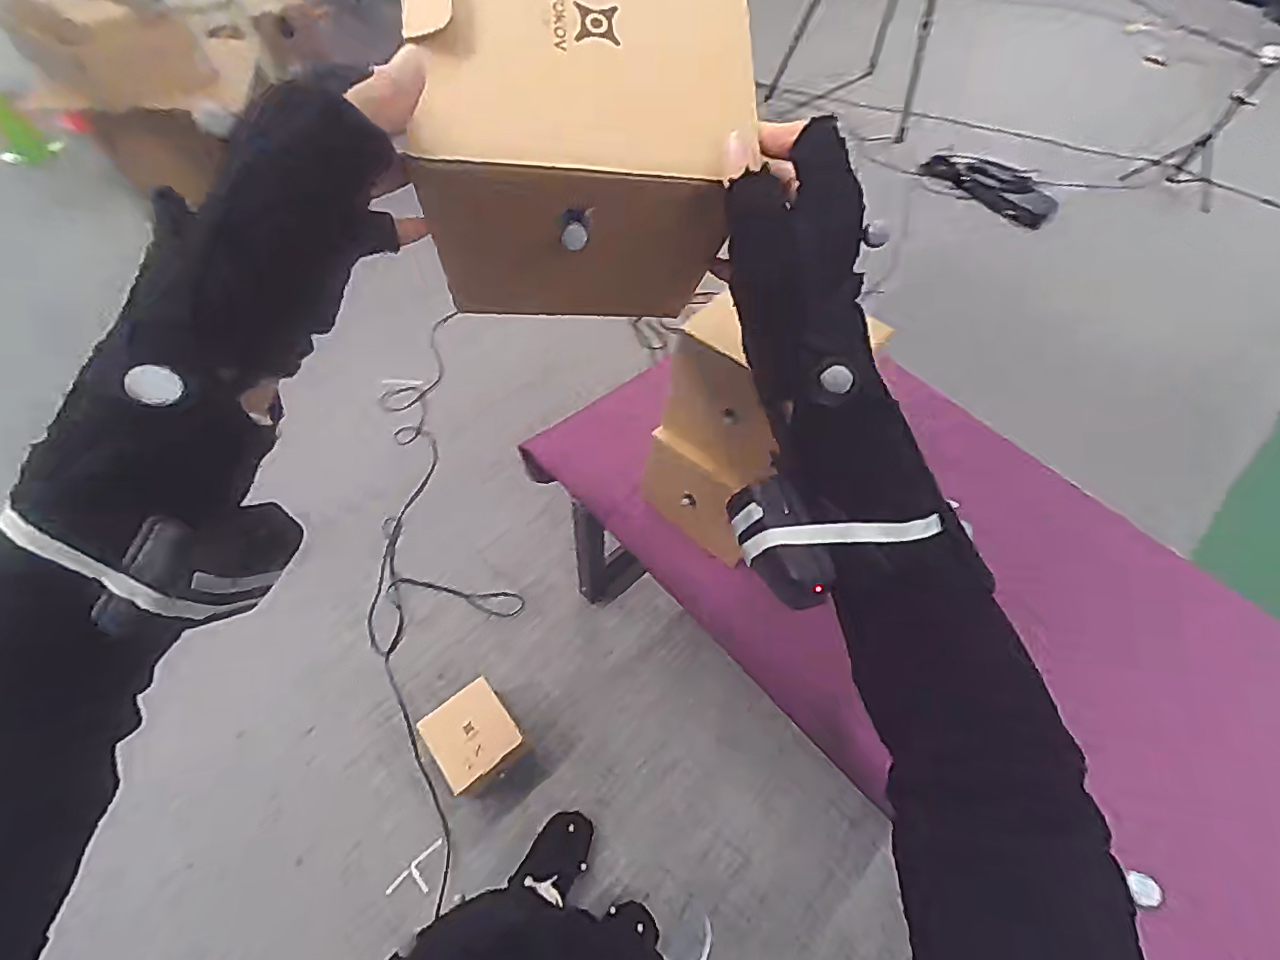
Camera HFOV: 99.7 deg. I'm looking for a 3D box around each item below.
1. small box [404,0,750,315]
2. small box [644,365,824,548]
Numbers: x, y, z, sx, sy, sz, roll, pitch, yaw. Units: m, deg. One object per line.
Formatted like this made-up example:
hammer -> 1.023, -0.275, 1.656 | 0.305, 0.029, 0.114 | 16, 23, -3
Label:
small box -> -0.045, -0.219, 0.355 | 0.179, 0.176, 0.168 | -2, 84, -11
small box -> 0.124, -0.024, 0.780 | 0.179, 0.176, 0.168 | 39, 62, 17
